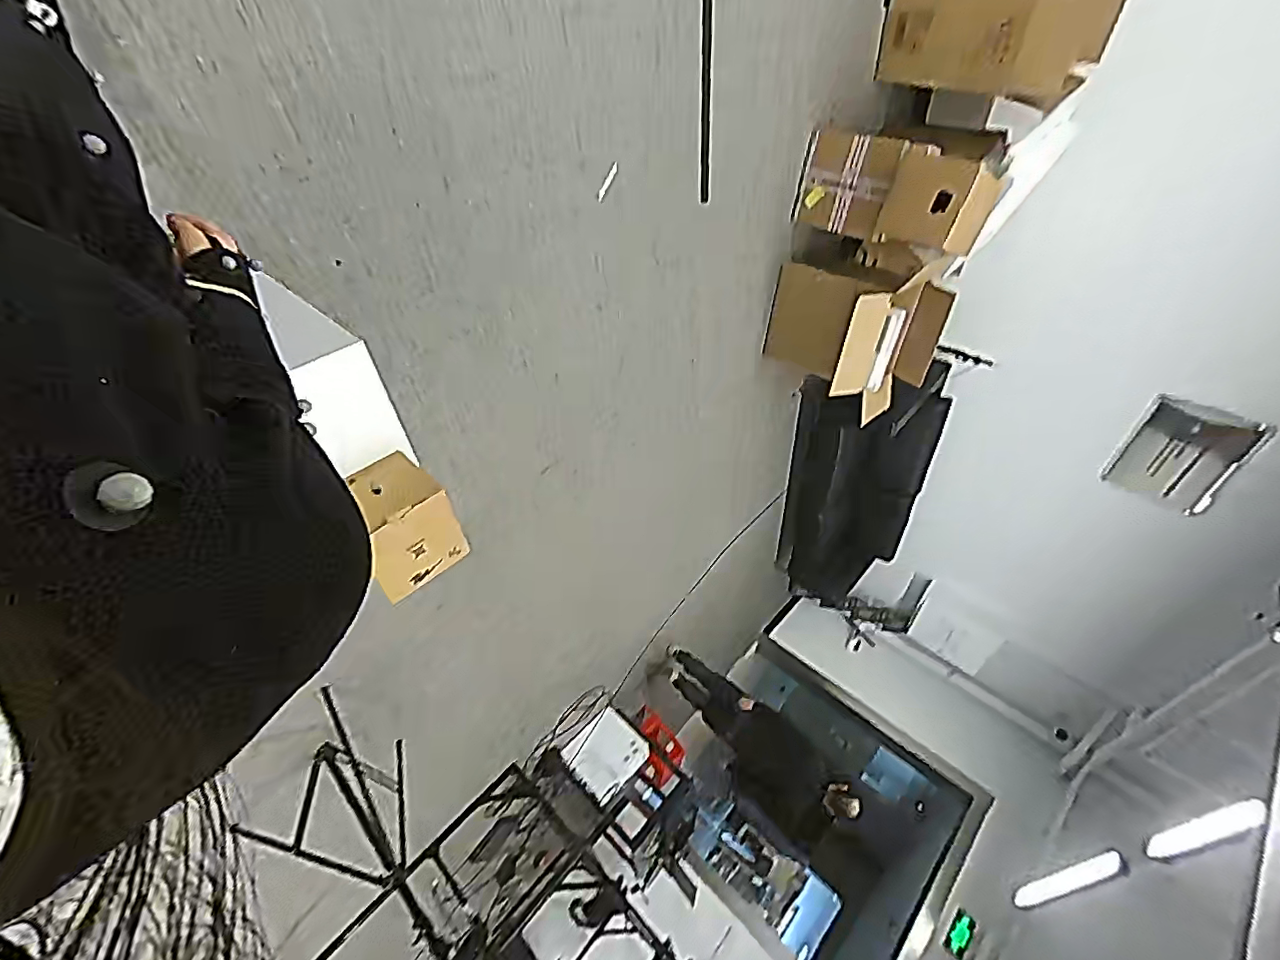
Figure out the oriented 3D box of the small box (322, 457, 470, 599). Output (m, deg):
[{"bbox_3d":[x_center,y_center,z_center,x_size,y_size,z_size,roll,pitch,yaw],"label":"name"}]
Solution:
[{"bbox_3d":[-0.450,0.077,1.002,0.168,0.176,0.179,-36,140,-29],"label":"small box"}]
